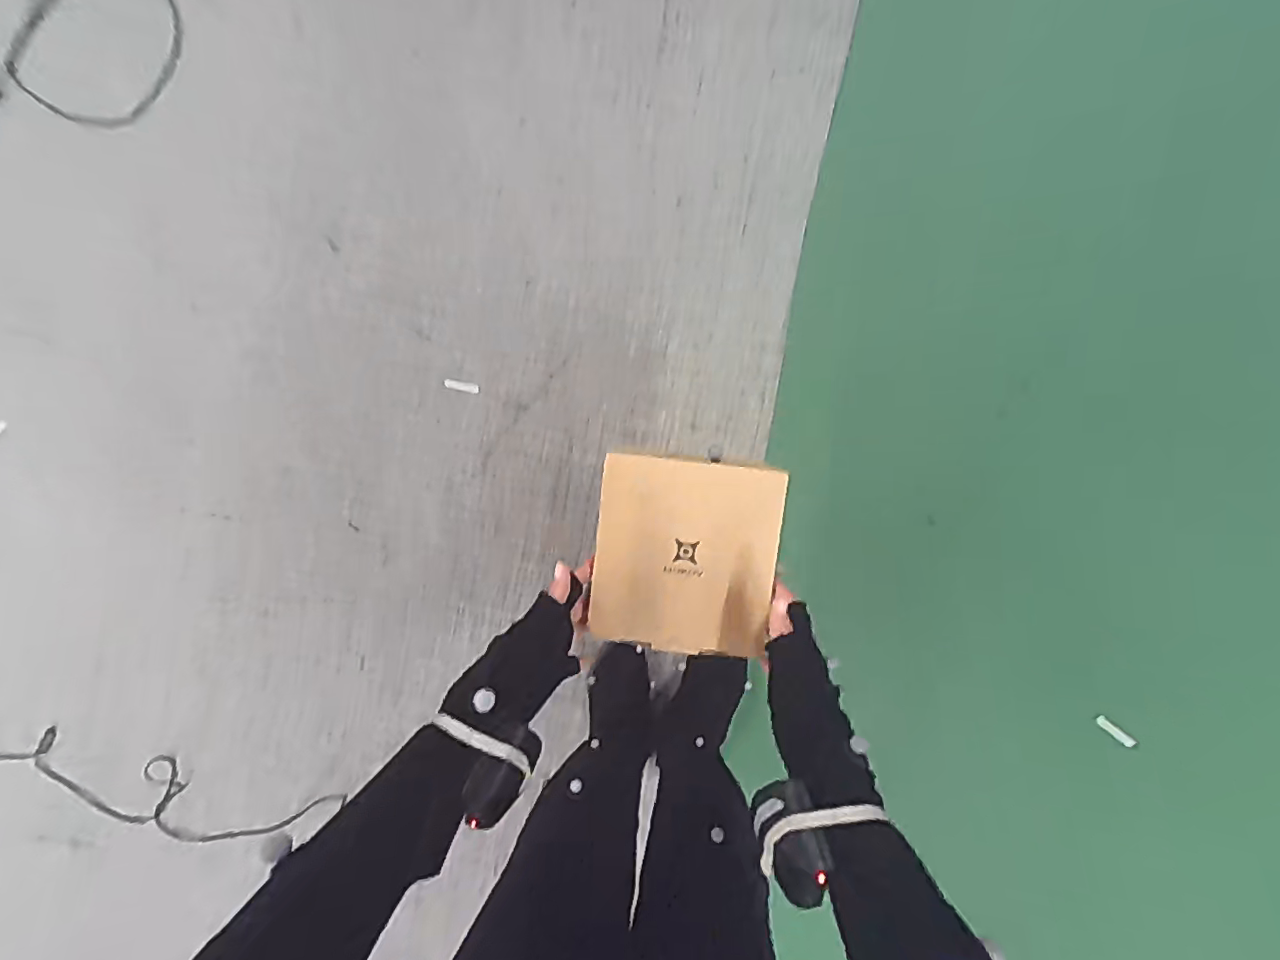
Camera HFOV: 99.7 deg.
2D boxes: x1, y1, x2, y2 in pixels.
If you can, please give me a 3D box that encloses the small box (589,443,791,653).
[{"bbox_3d":[0.046,0.056,0.564,0.168,0.176,0.179,7,96,2],"label":"small box"}]
